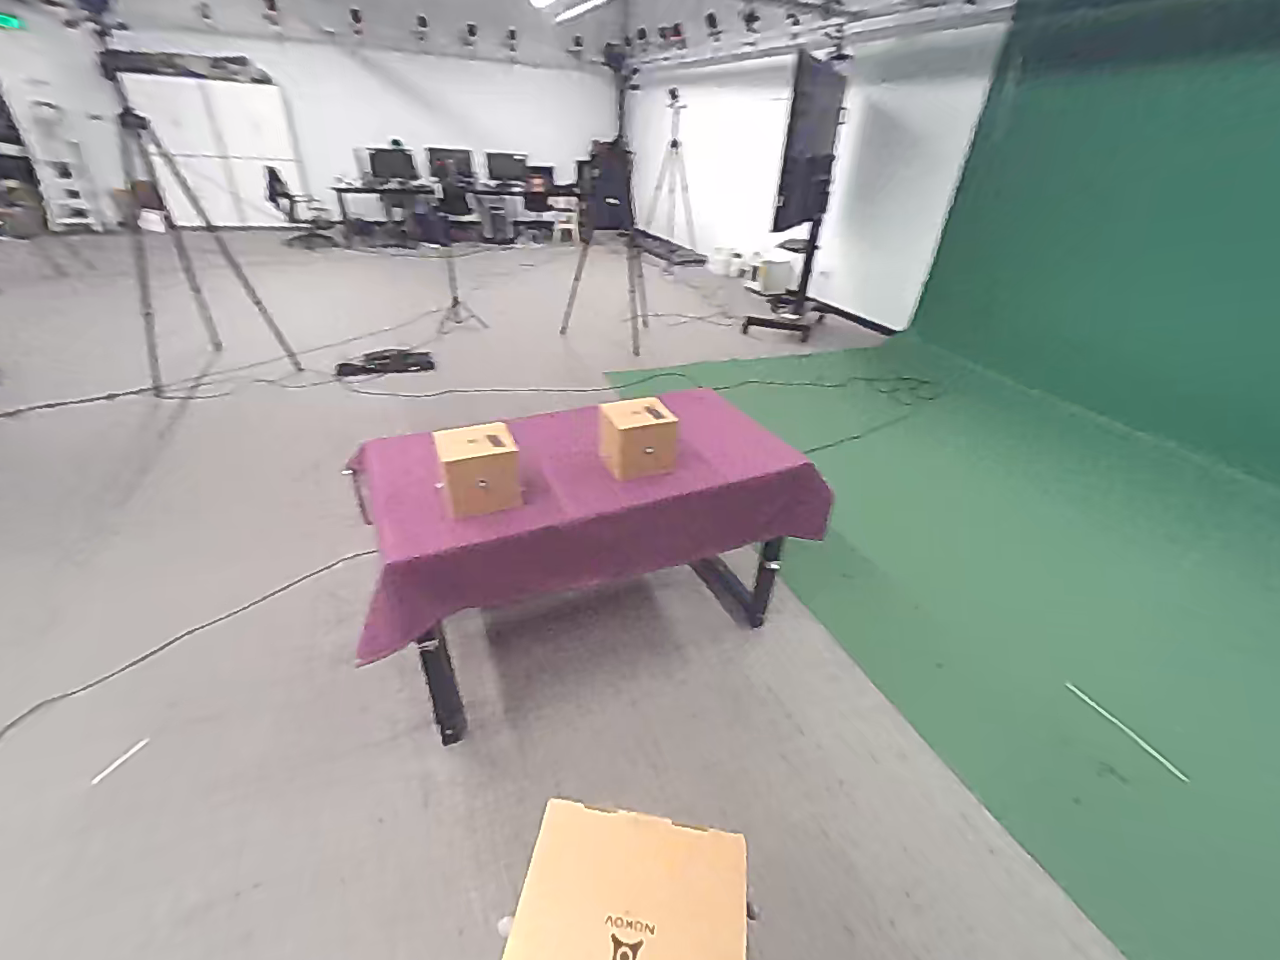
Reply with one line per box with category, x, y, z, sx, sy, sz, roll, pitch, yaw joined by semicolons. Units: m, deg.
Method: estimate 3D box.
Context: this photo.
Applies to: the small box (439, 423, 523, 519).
small box;-0.399;-0.024;1.368;0.179;0.176;0.168;-12;35;-22
